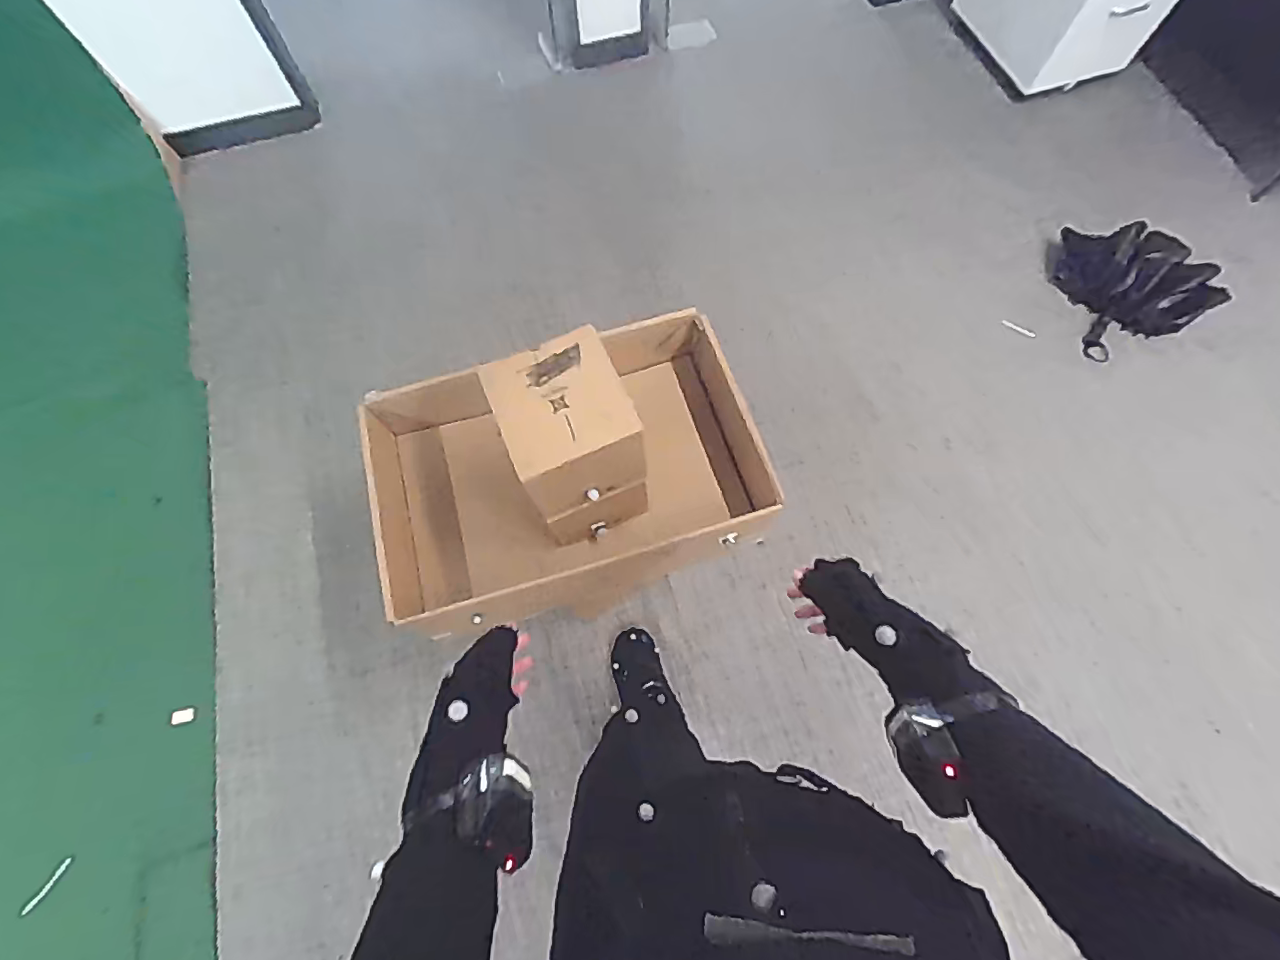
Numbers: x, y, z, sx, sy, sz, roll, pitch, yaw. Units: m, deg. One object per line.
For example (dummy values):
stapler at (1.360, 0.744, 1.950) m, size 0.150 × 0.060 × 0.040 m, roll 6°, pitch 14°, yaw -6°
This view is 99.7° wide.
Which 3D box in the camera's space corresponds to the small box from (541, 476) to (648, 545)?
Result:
small box at (-0.094, -0.012, 0.919) m, size 0.168 × 0.176 × 0.179 m, roll -23°, pitch 71°, yaw -6°

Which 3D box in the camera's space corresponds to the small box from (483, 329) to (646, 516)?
small box at (-0.099, -0.073, 0.766) m, size 0.168 × 0.176 × 0.179 m, roll -23°, pitch 71°, yaw -5°
